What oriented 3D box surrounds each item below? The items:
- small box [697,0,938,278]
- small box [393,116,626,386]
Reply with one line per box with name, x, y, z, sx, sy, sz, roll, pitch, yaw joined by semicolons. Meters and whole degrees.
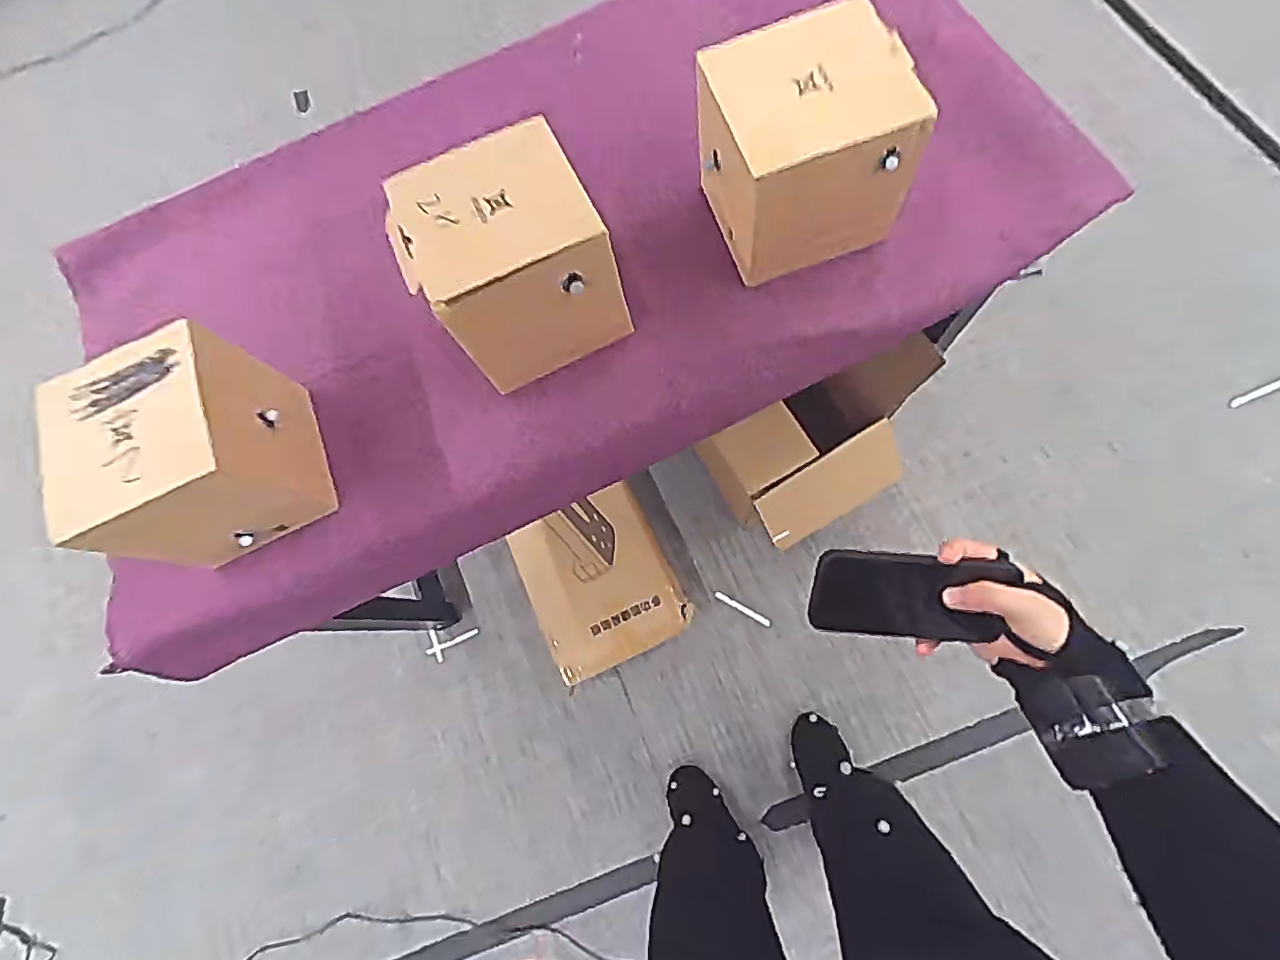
small box;0.171;-0.349;0.579;0.179;0.176;0.168;-19;73;2
small box;-0.125;-0.233;0.585;0.179;0.176;0.168;-26;70;0
